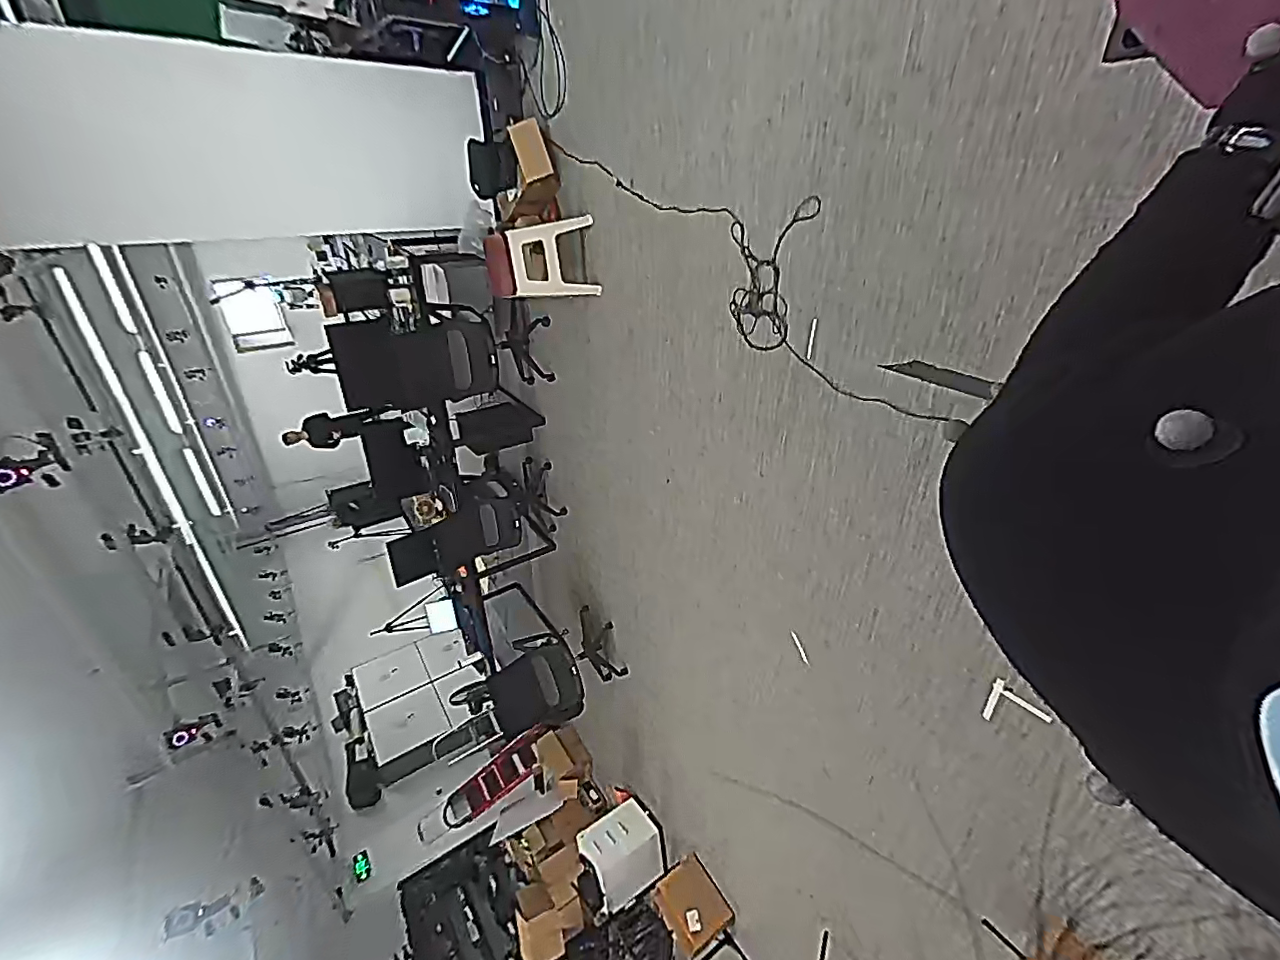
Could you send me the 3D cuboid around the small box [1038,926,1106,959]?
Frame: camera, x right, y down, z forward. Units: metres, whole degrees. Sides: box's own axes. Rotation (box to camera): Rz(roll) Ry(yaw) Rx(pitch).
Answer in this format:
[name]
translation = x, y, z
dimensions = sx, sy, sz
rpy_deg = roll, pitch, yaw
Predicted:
[small box]
translation = 1.305, 1.513, 1.627
dimensions = 0.168, 0.176, 0.179
rpy_deg = 30, 130, 49
